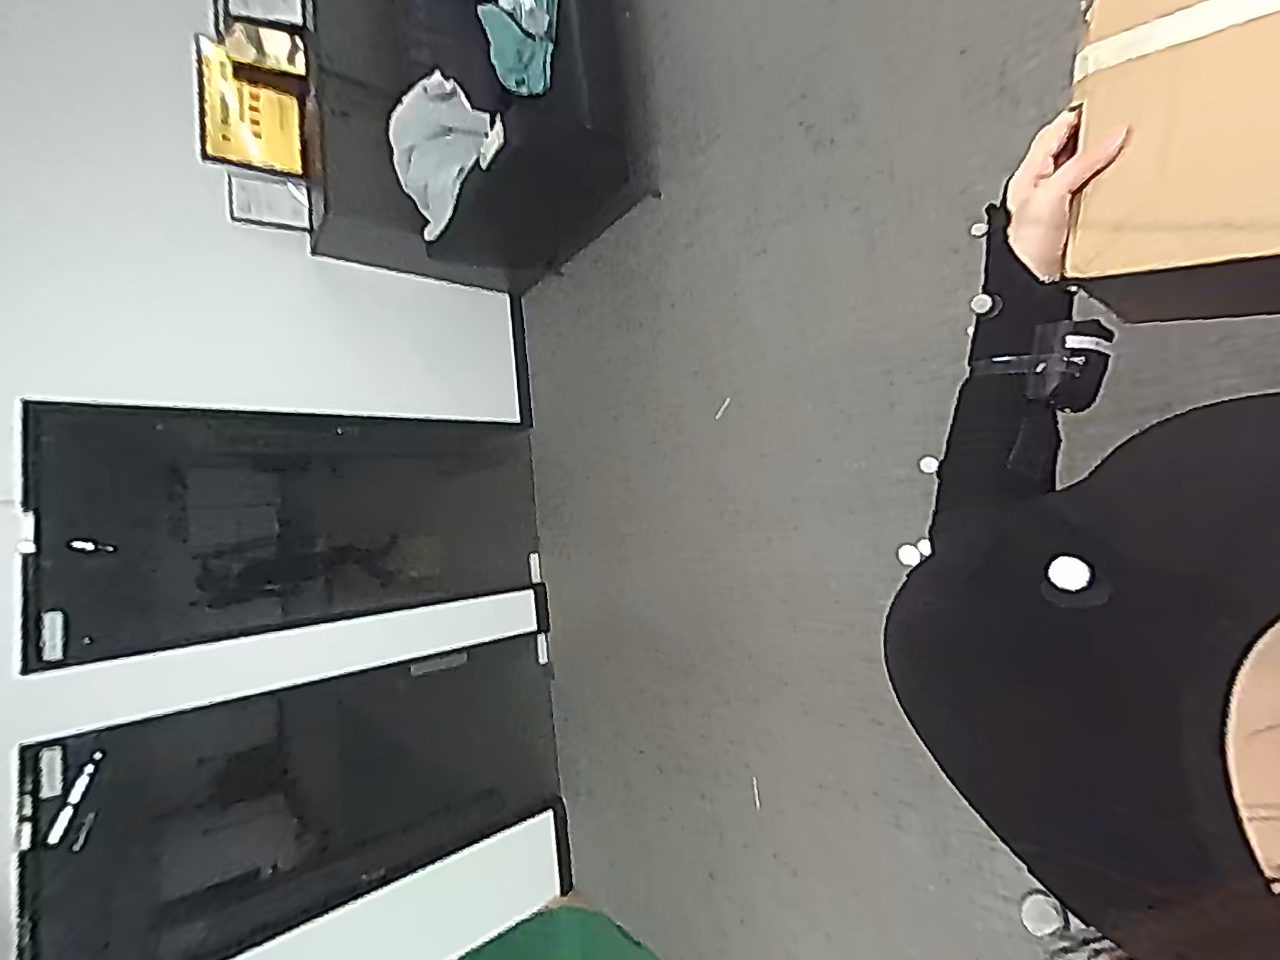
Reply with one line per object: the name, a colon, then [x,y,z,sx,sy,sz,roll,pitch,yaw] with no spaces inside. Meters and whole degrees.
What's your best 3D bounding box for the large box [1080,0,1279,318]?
large box: [0.581,-0.307,0.360,0.408,0.320,0.320,8,101,46]
